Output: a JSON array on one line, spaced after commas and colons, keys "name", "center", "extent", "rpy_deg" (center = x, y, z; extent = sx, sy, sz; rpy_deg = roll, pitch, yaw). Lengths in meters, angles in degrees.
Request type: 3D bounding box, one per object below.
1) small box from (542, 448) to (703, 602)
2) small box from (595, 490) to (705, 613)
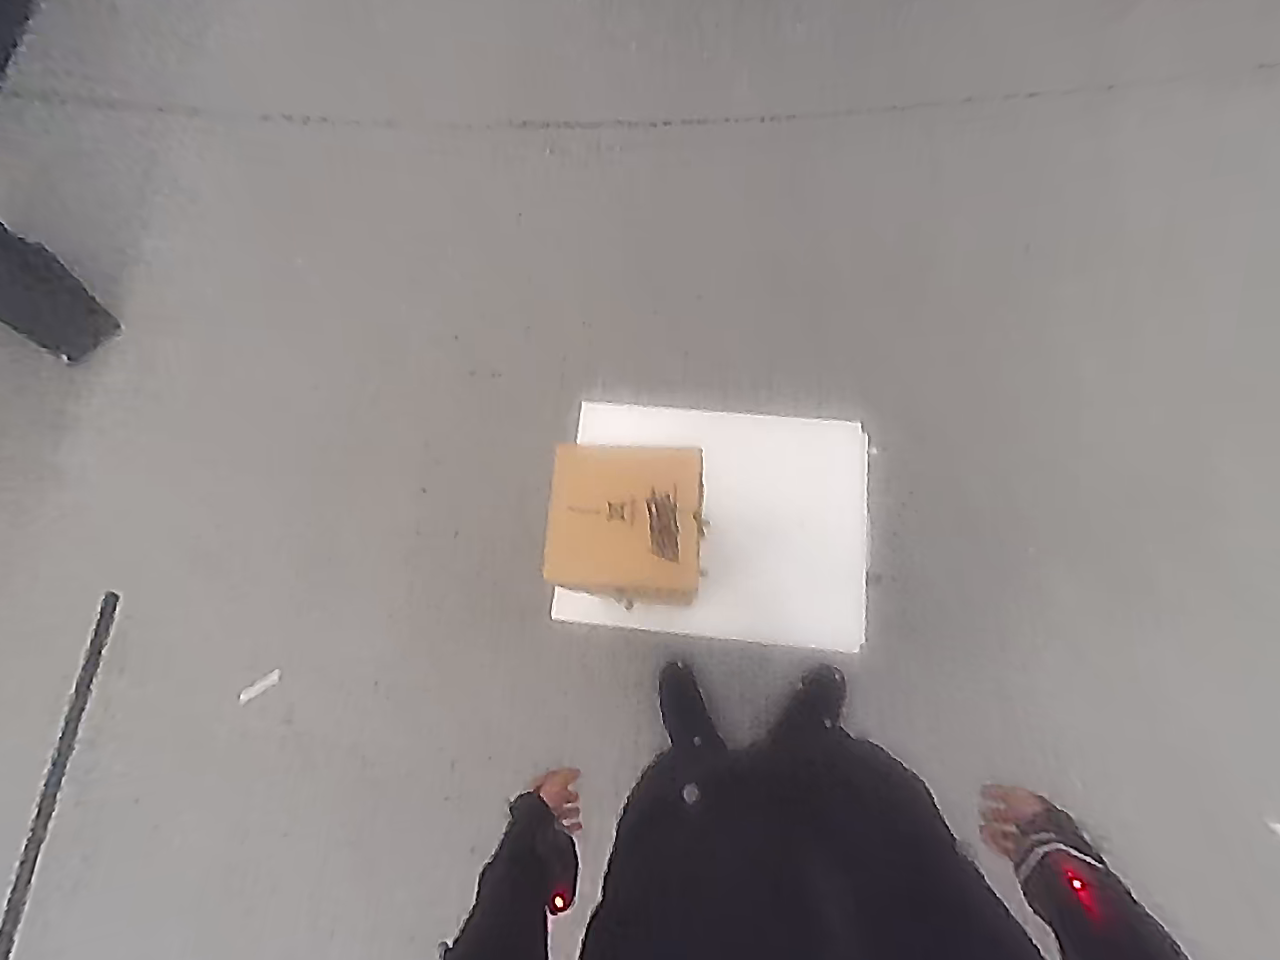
[{"name": "small box", "center": [-0.011, 0.065, 0.688], "extent": [0.179, 0.176, 0.168], "rpy_deg": [1, 74, 7]}, {"name": "small box", "center": [0.008, 0.108, 0.846], "extent": [0.168, 0.176, 0.179], "rpy_deg": [6, 75, 6]}]
